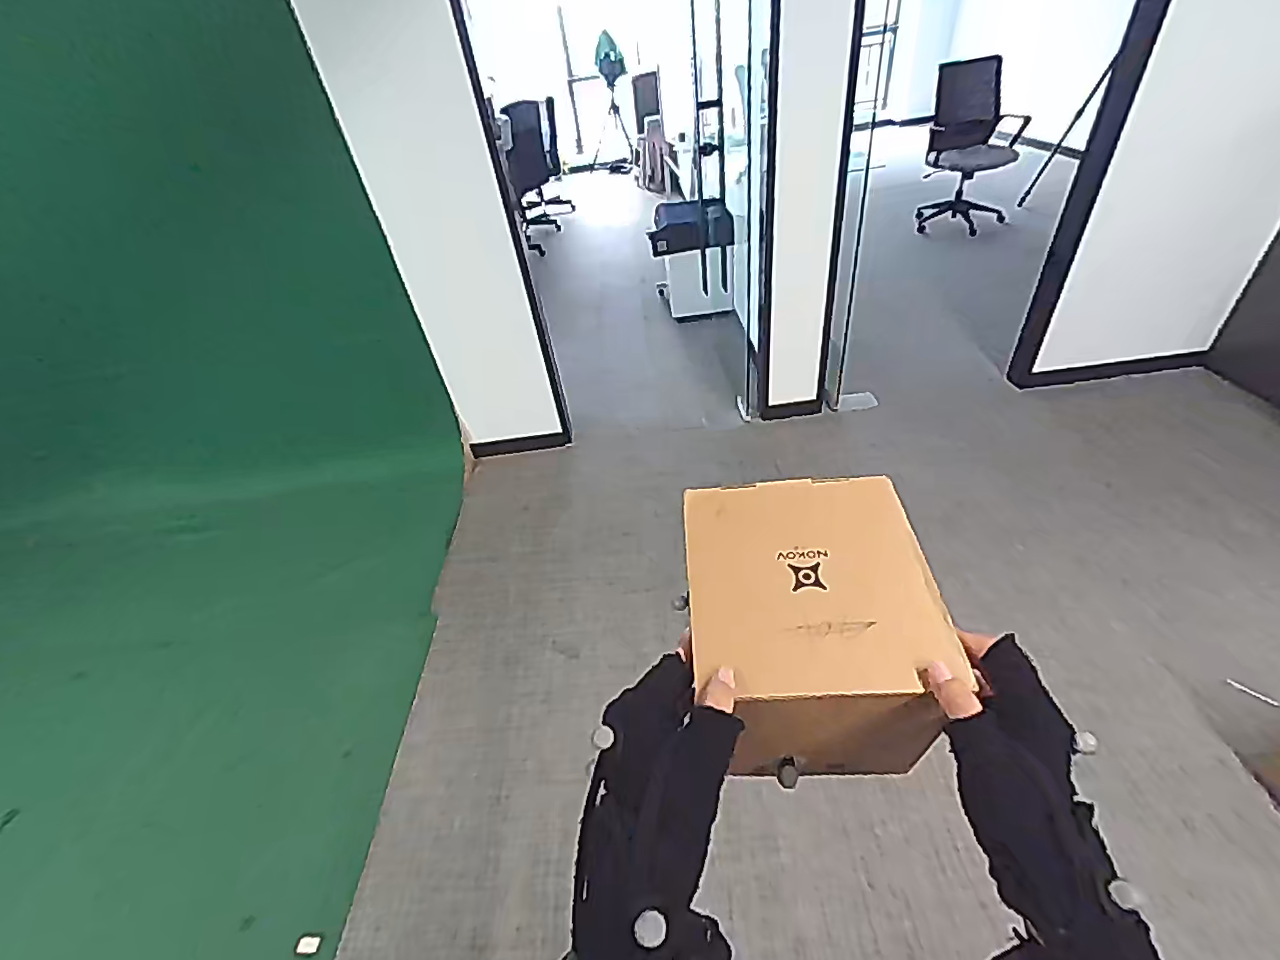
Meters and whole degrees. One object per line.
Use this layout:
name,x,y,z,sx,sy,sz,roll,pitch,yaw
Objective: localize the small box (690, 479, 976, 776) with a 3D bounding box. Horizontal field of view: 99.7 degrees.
small box,0.124,0.119,0.435,0.168,0.176,0.179,-2,49,5
